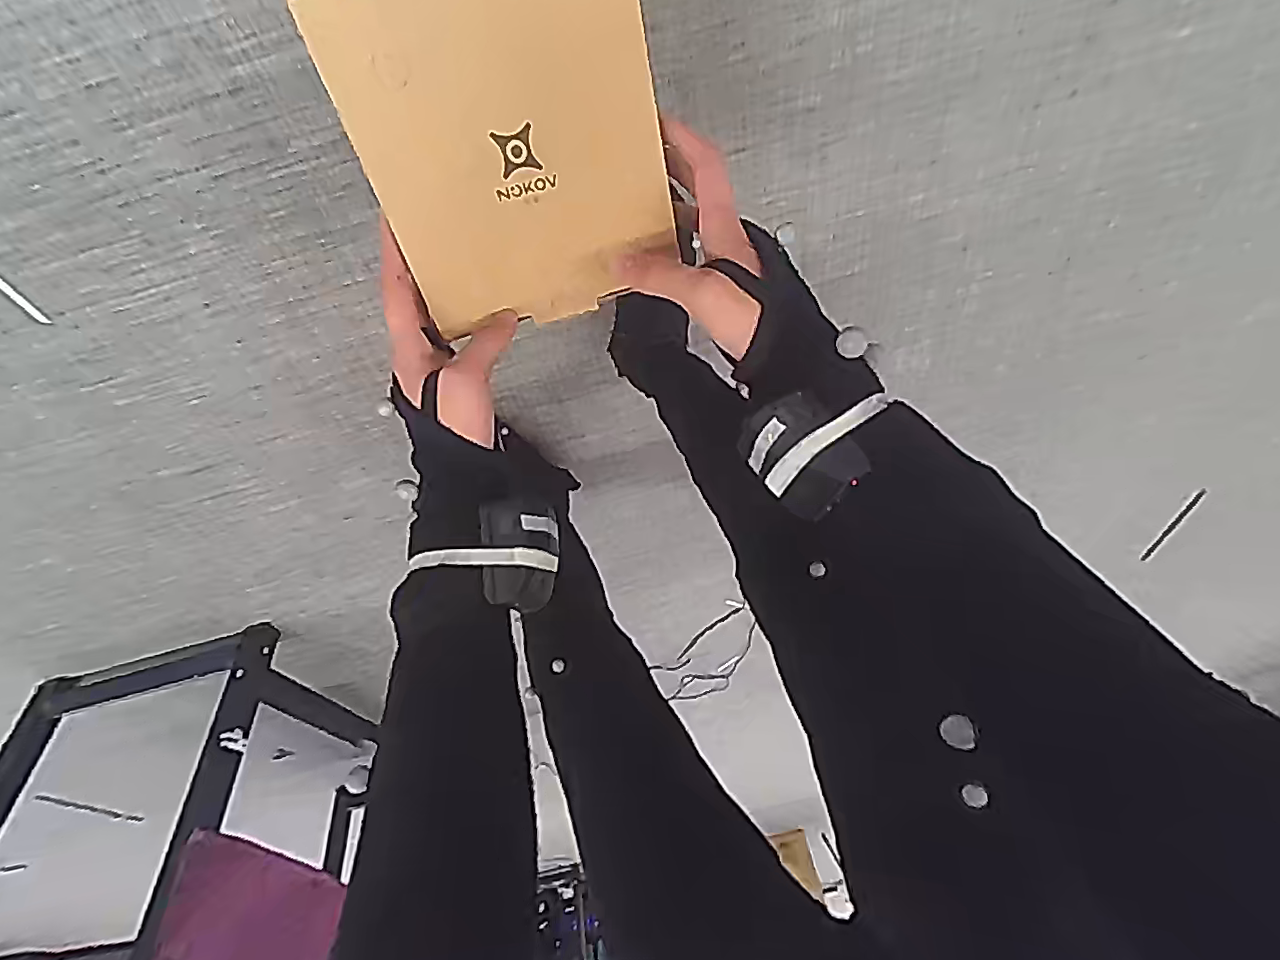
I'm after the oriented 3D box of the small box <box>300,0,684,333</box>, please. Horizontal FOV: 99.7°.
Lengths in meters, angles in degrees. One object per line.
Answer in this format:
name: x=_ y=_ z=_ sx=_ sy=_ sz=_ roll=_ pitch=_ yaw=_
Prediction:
small box: x=-0.080 y=-0.229 z=0.366 sx=0.168 sy=0.176 sz=0.179 roll=-16 pitch=129 yaw=0
